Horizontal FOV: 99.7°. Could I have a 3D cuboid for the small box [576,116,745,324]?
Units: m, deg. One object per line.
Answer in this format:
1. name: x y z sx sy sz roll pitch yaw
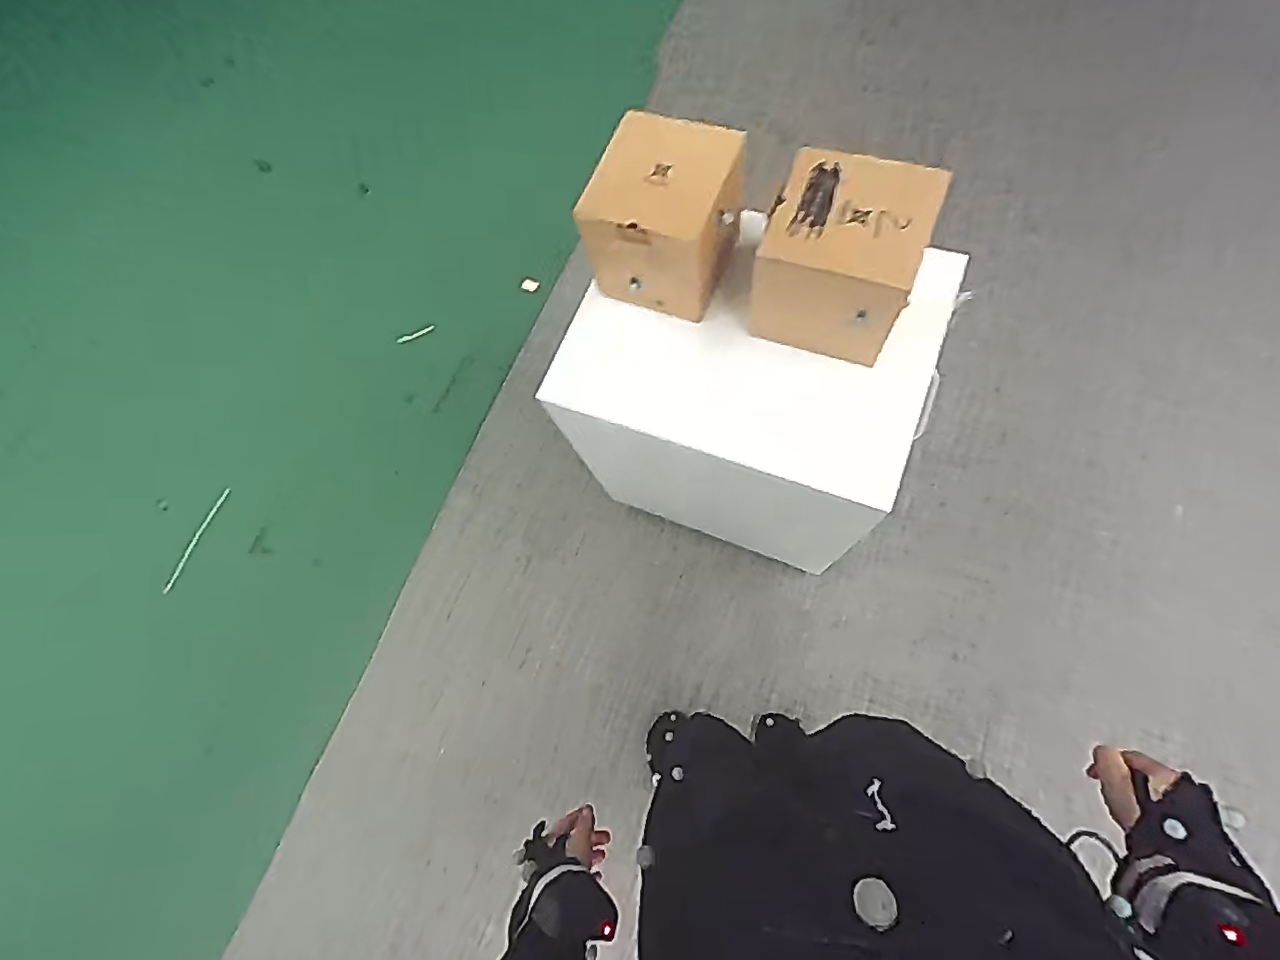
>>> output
1. small box: 0.034 -0.352 0.751 0.168 0.176 0.179 20 77 14
